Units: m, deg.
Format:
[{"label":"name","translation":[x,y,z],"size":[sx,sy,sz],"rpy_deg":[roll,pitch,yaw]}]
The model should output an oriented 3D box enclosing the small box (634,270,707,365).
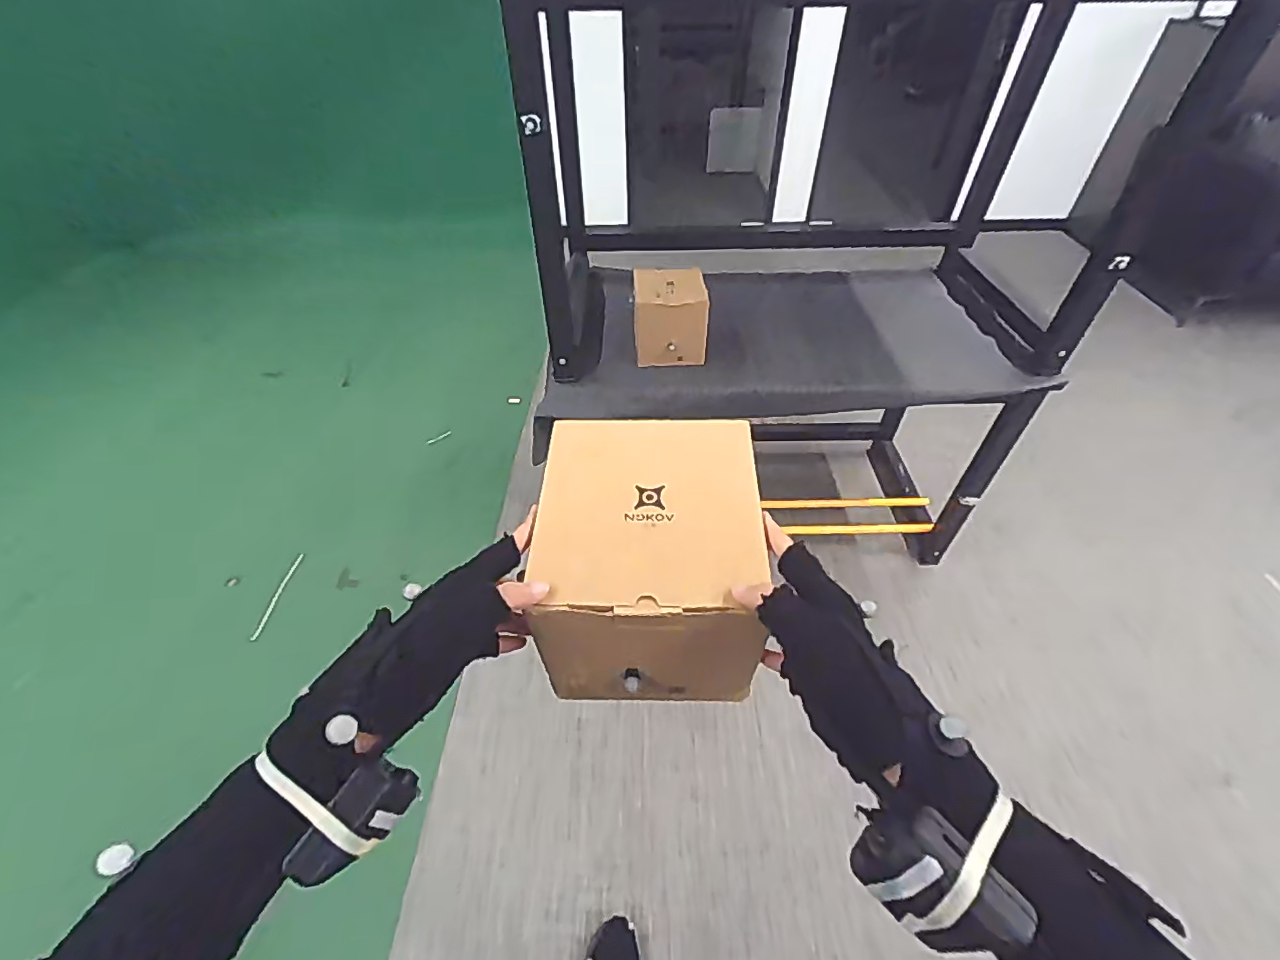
[{"label":"small box","translation":[0.068,-0.400,1.331],"size":[0.168,0.176,0.179],"rpy_deg":[-2,45,-1]}]
